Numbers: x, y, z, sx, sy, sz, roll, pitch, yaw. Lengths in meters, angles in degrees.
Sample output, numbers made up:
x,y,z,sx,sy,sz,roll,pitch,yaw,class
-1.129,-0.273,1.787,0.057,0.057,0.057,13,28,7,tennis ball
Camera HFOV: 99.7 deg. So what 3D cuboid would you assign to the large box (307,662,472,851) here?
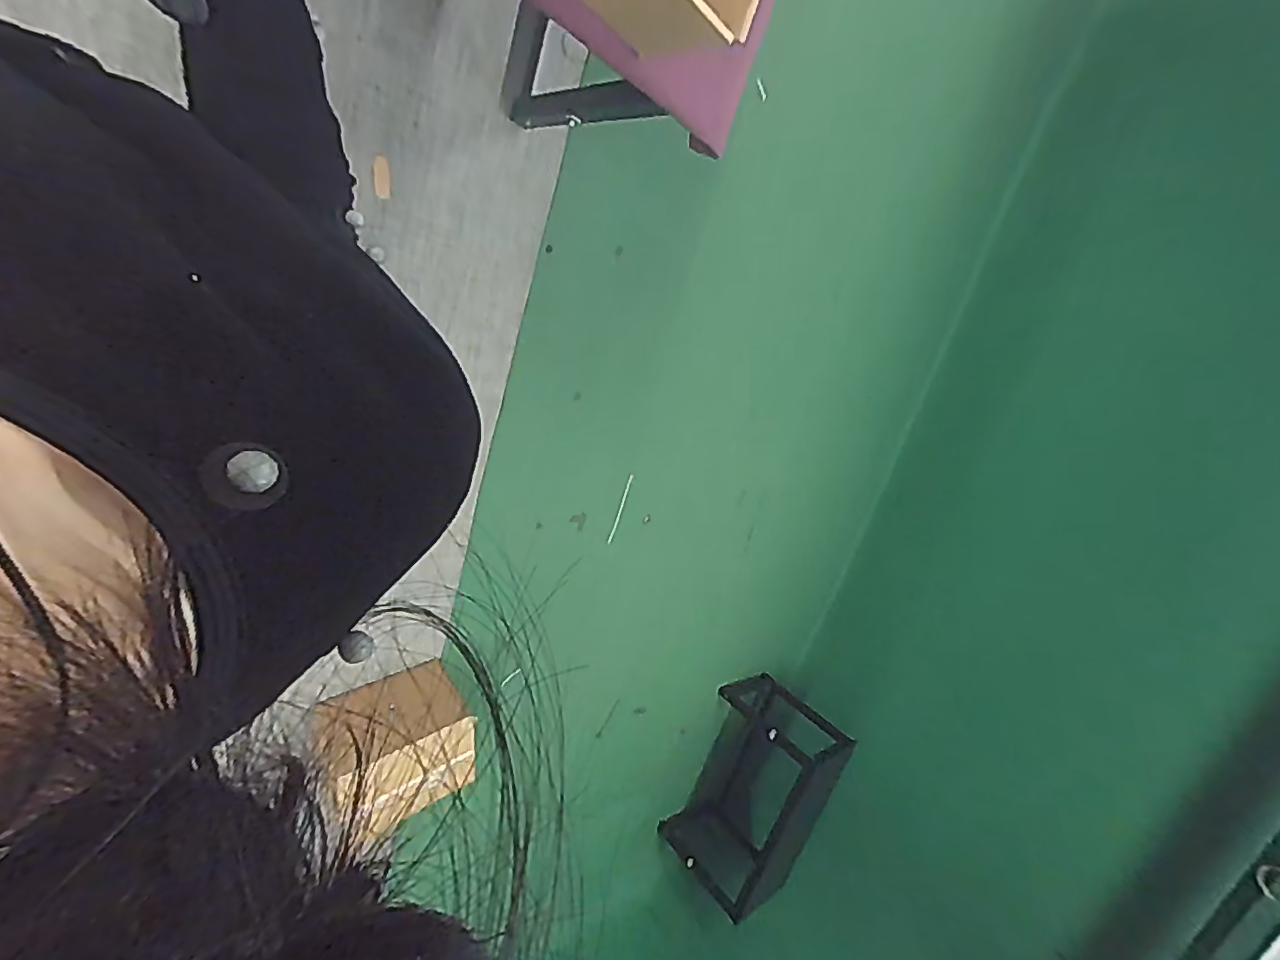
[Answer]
x,y,z,sx,sy,sz,roll,pitch,yaw,class
-0.806,0.873,1.764,0.408,0.320,0.320,-14,122,-40,large box
